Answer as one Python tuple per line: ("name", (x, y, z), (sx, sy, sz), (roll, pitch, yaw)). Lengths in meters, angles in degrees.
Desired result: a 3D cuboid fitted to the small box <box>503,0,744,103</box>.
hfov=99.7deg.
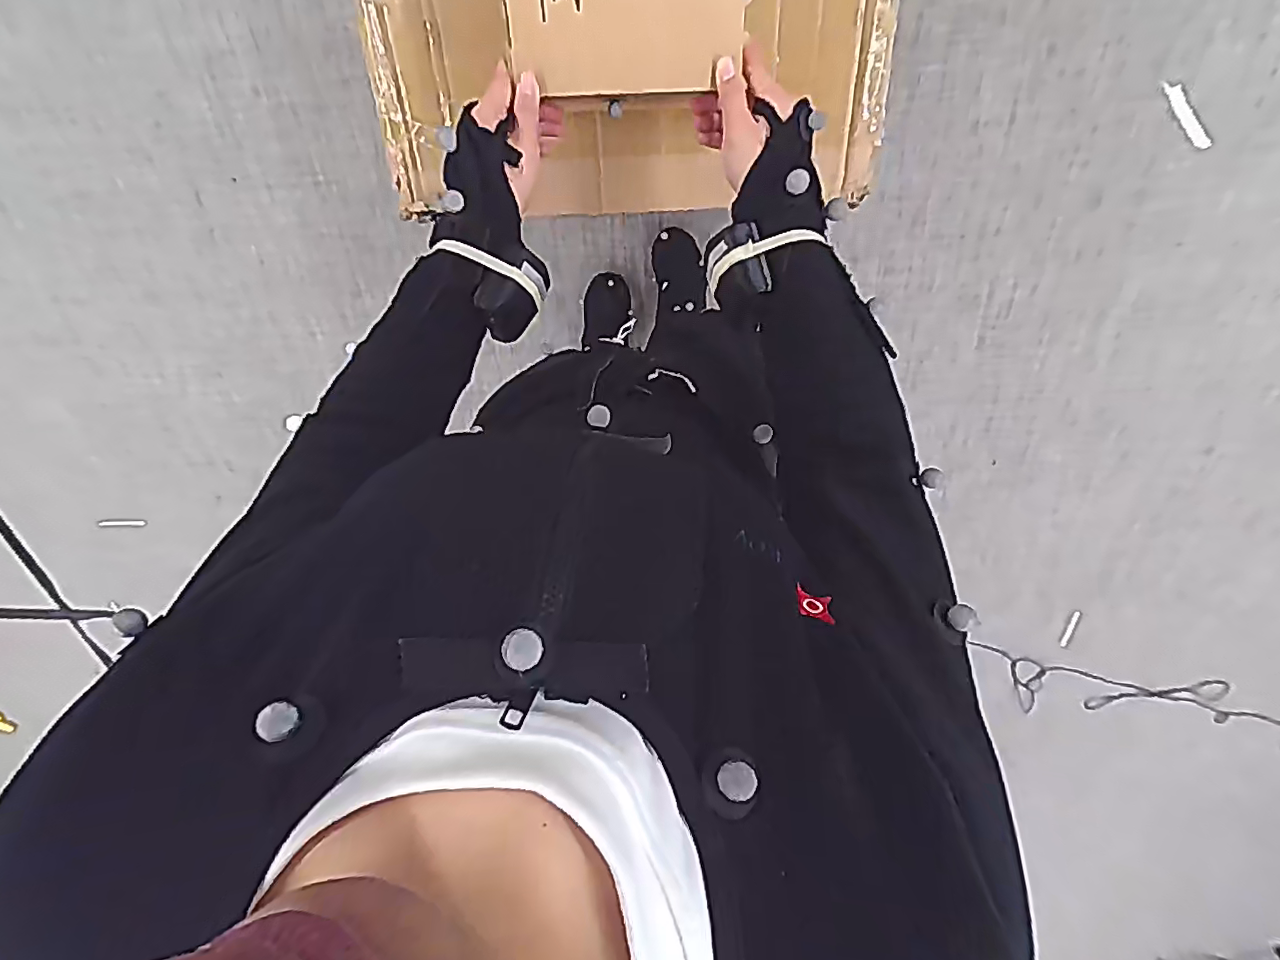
("small box", (-0.009, -0.412, 0.437), (0.179, 0.176, 0.168), (0, 122, 3))
